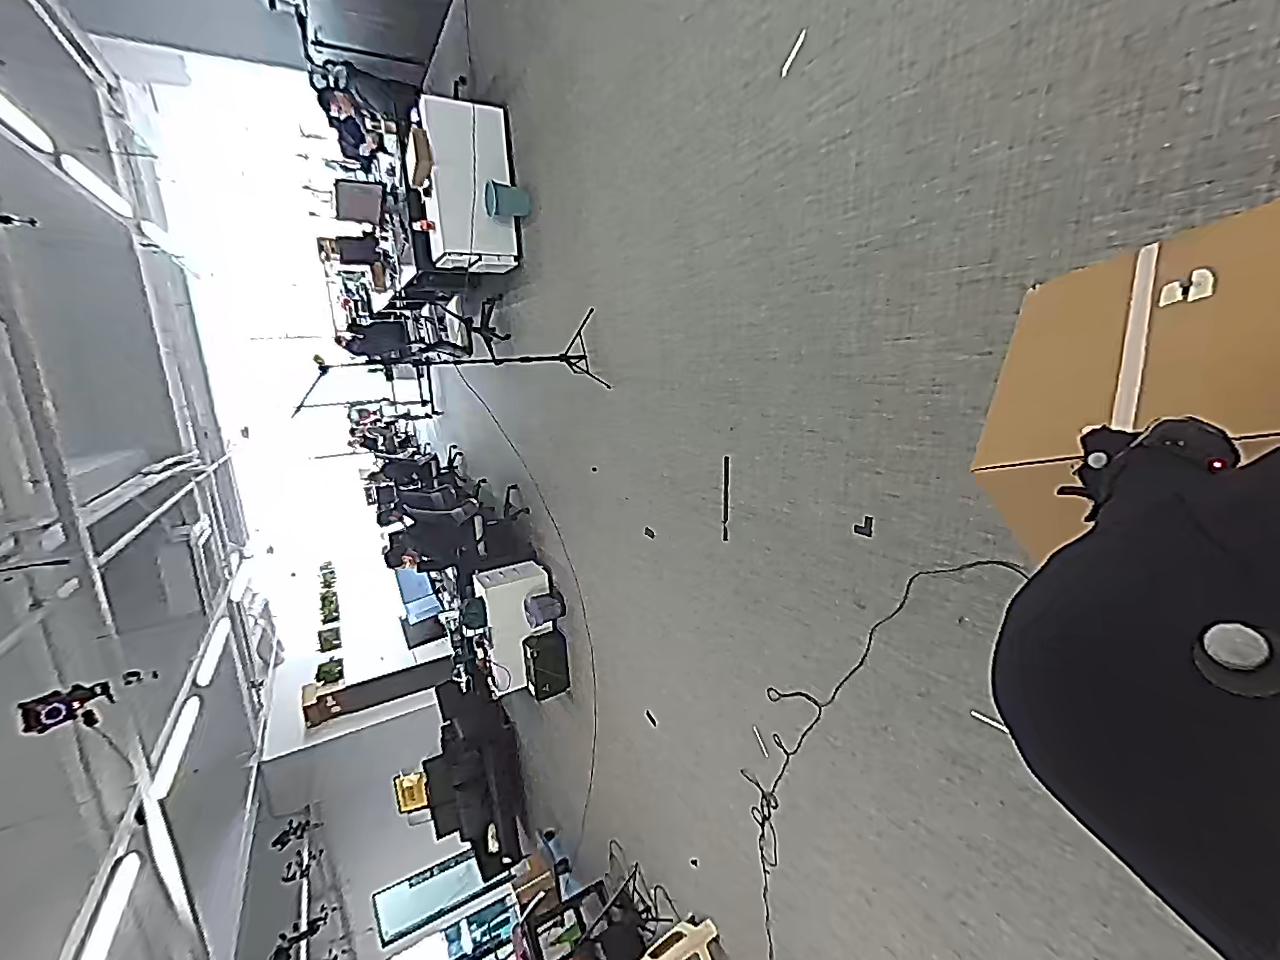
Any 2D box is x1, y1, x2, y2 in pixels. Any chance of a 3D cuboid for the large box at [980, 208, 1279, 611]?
[{"bbox_3d":[0.732,-0.077,0.735,0.320,0.408,0.320,45,152,-22],"label":"large box"}]
